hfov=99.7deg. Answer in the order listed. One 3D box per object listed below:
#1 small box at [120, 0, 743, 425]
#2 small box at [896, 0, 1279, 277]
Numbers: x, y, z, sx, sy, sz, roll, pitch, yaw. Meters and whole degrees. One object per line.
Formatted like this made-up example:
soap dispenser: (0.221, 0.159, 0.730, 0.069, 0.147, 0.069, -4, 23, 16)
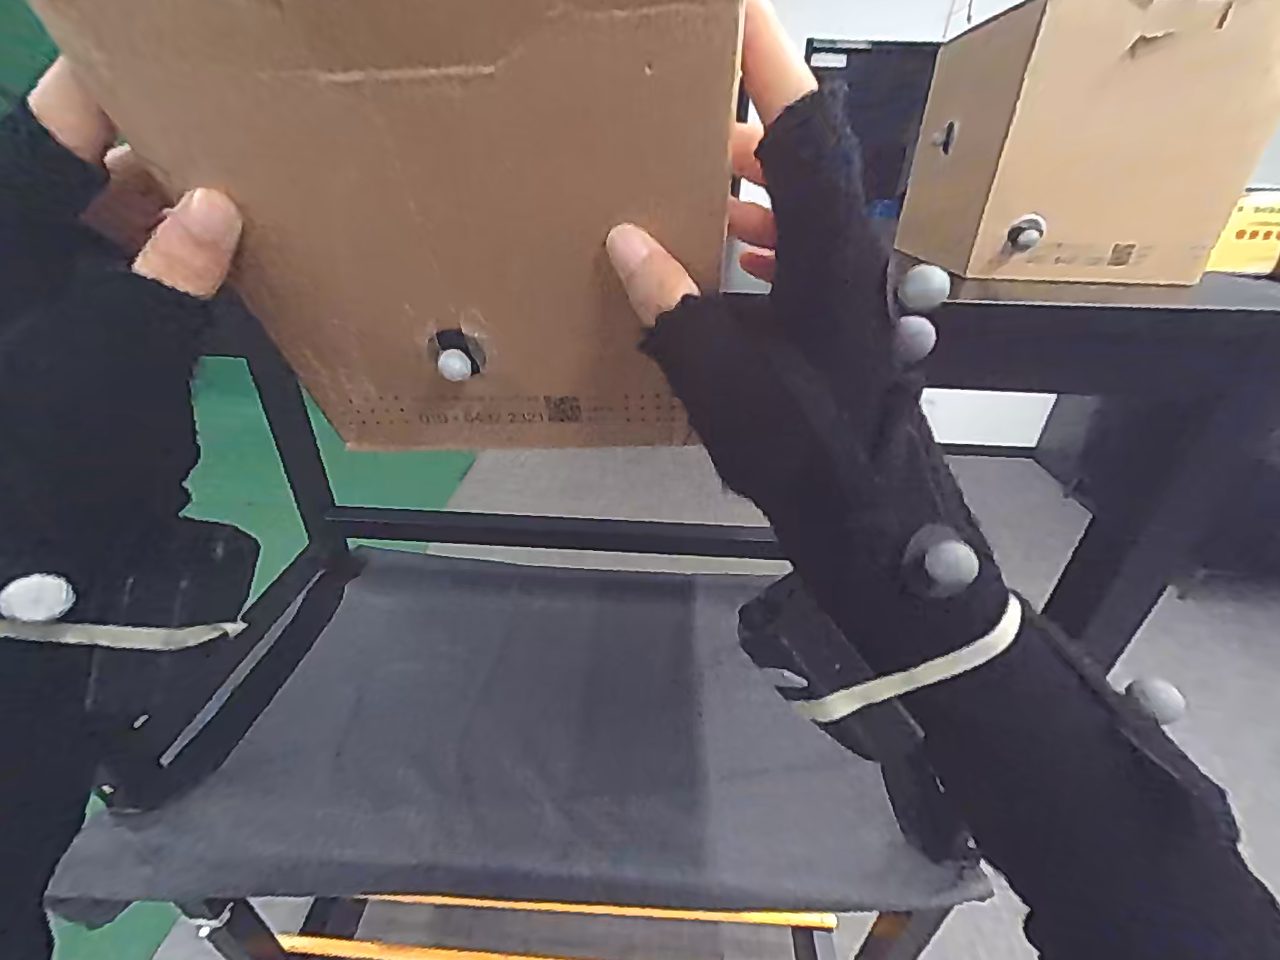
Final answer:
small box: (-0.052, -0.144, 0.238, 0.168, 0.176, 0.179, -1, 52, 3)
small box: (0.332, -0.265, 0.437, 0.168, 0.176, 0.179, 4, 29, 4)
